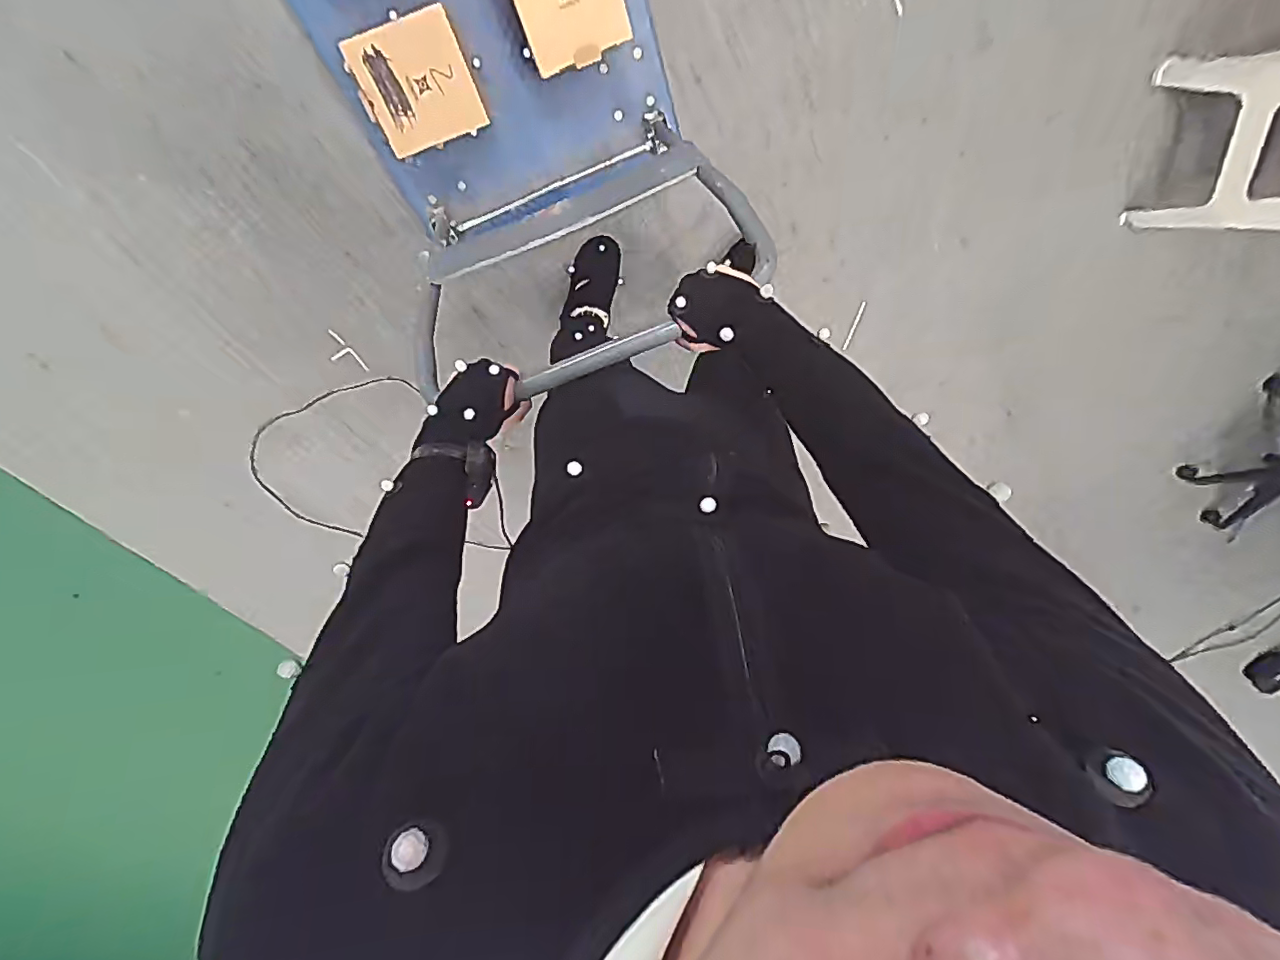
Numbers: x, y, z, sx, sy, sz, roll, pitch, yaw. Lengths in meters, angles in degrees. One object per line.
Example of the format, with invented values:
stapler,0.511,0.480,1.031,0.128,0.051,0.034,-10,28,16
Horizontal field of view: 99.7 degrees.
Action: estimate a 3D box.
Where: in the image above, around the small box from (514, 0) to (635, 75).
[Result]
small box,-0.125,-0.808,0.895,0.168,0.176,0.179,-21,132,5
